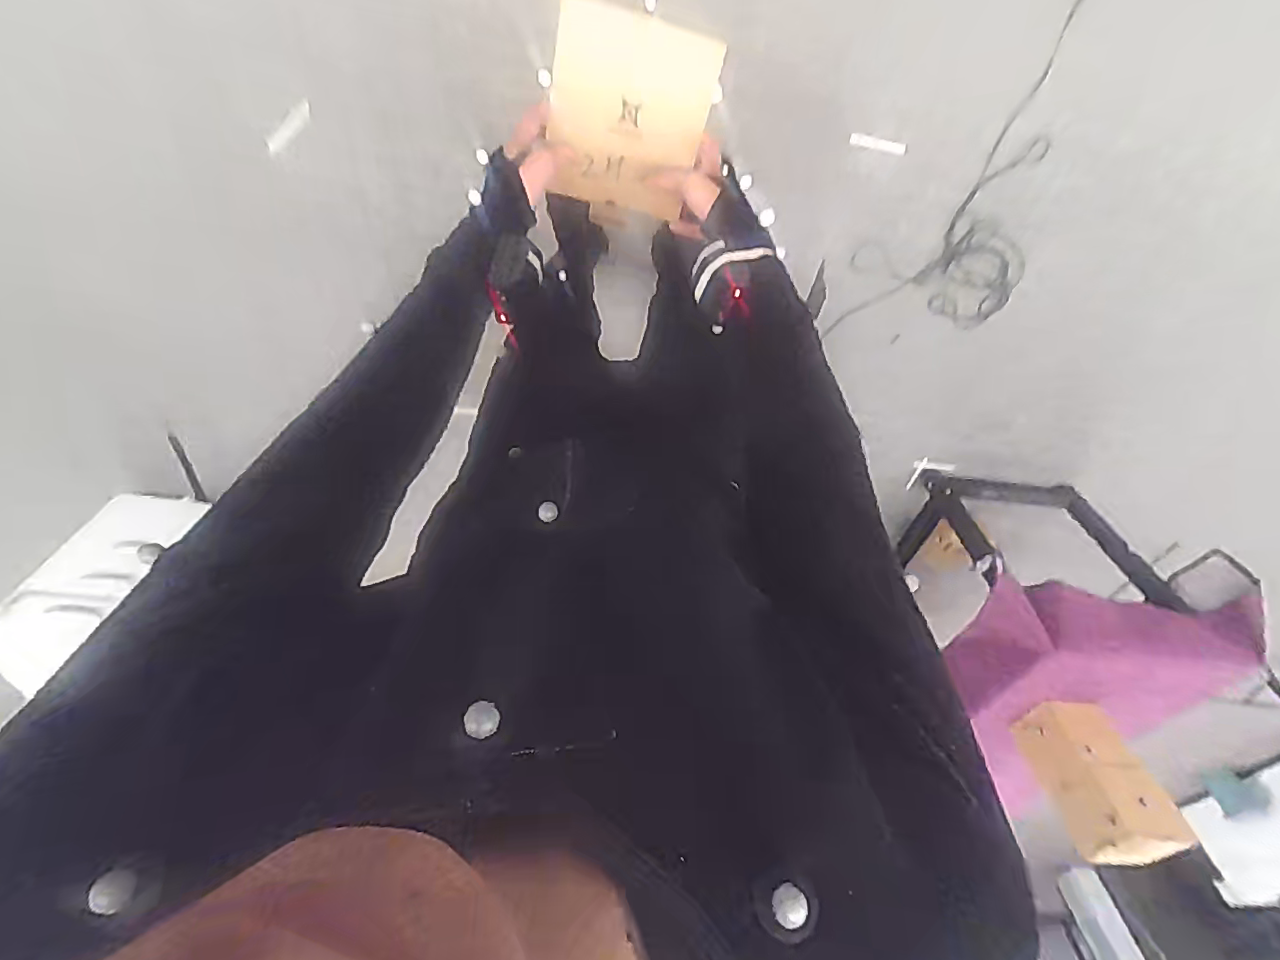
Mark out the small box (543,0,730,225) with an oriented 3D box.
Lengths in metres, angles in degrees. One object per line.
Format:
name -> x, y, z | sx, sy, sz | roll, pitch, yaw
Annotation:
small box -> -0.015, -0.432, 0.626 | 0.168, 0.176, 0.179 | 9, 133, -12

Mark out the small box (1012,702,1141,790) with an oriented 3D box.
small box -> 1.182, 0.727, 1.480 | 0.179, 0.176, 0.168 | 6, 130, -7
